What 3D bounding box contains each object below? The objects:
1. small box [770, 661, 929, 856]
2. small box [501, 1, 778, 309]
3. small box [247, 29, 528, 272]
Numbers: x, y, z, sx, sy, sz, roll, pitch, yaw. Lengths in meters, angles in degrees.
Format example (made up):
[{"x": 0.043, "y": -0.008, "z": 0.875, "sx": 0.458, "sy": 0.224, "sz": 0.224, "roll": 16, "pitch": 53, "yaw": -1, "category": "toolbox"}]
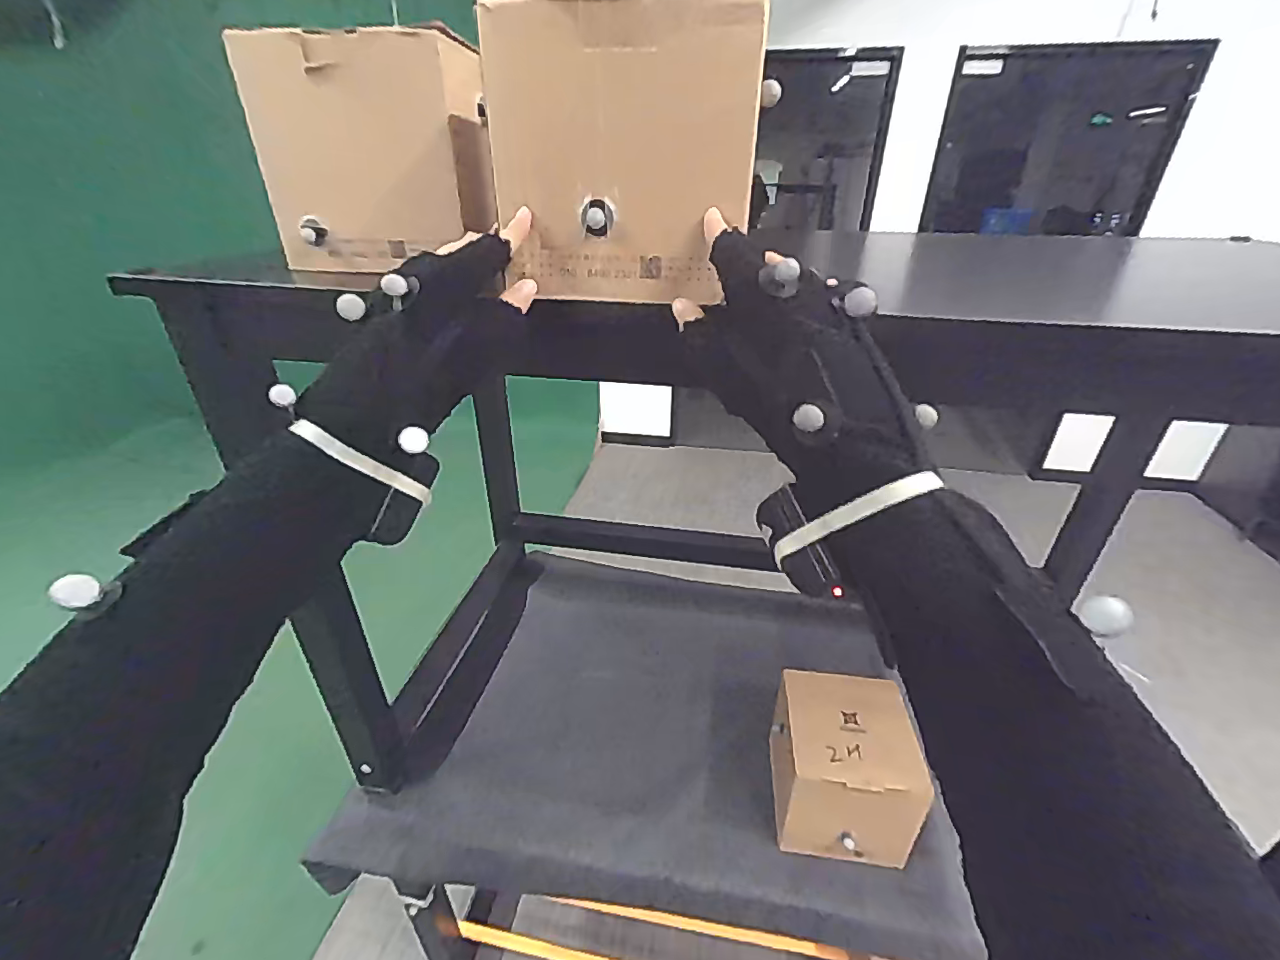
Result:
[{"x": 0.285, "y": 0.395, "z": 0.781, "sx": 0.168, "sy": 0.176, "sz": 0.179, "roll": 4, "pitch": 29, "yaw": 7, "category": "small box"}, {"x": 0.006, "y": -0.239, "z": 0.420, "sx": 0.168, "sy": 0.176, "sz": 0.179, "roll": 4, "pitch": 30, "yaw": 6, "category": "small box"}, {"x": -0.206, "y": -0.295, "z": 0.507, "sx": 0.168, "sy": 0.176, "sz": 0.179, "roll": 4, "pitch": 29, "yaw": 4, "category": "small box"}]
